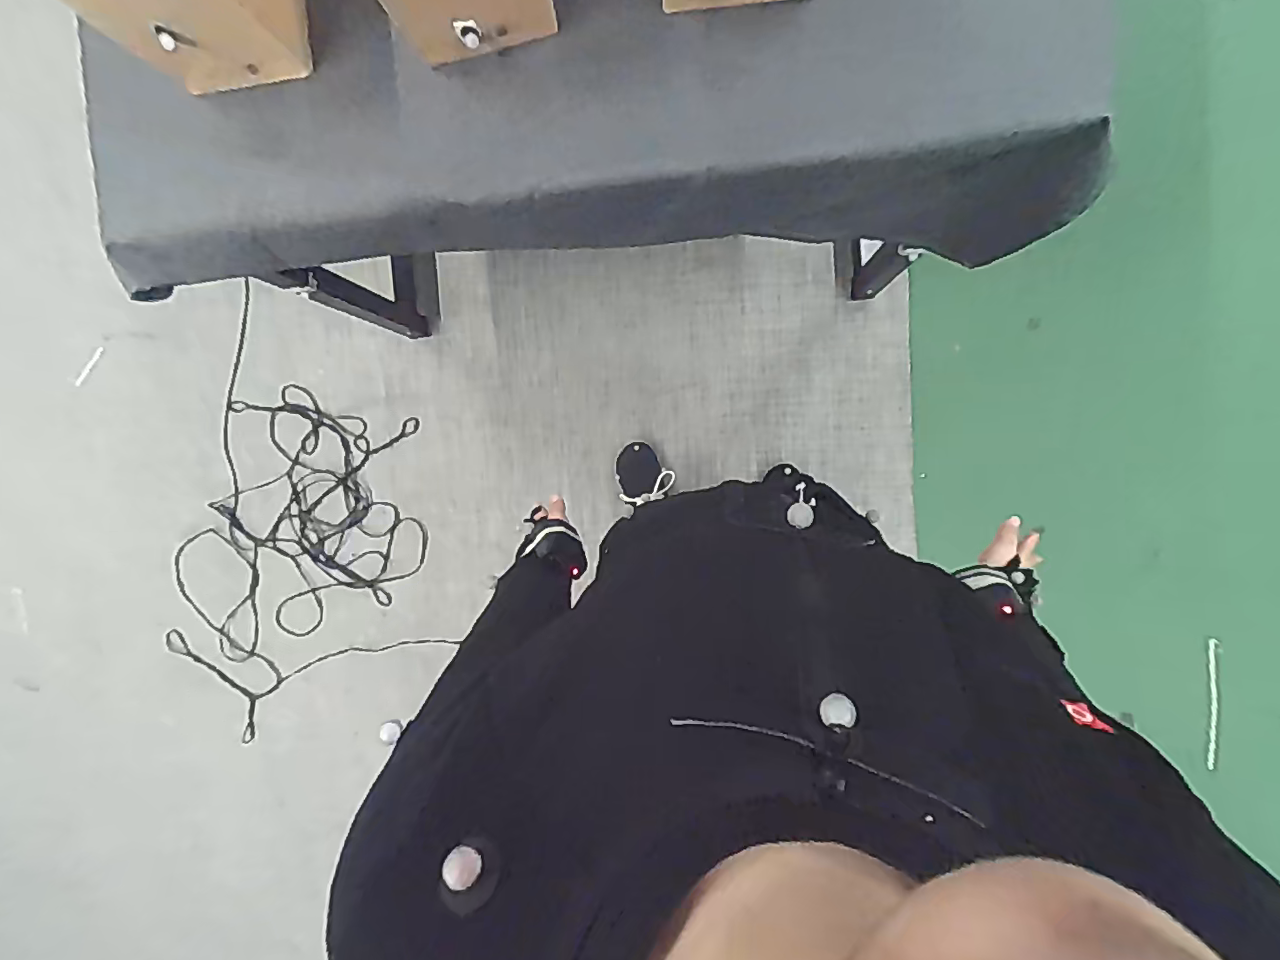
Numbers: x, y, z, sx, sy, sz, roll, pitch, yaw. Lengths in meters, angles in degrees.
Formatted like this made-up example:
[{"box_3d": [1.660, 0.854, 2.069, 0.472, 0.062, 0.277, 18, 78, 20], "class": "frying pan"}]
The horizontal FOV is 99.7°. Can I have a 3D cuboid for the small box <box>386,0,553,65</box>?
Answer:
[{"box_3d": [-0.200, -0.583, 0.549, 0.168, 0.176, 0.179, -11, 92, 8], "class": "small box"}]

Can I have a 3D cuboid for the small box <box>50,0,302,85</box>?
[{"box_3d": [-0.498, -0.564, 0.580, 0.168, 0.176, 0.179, -5, 91, 6], "class": "small box"}]
